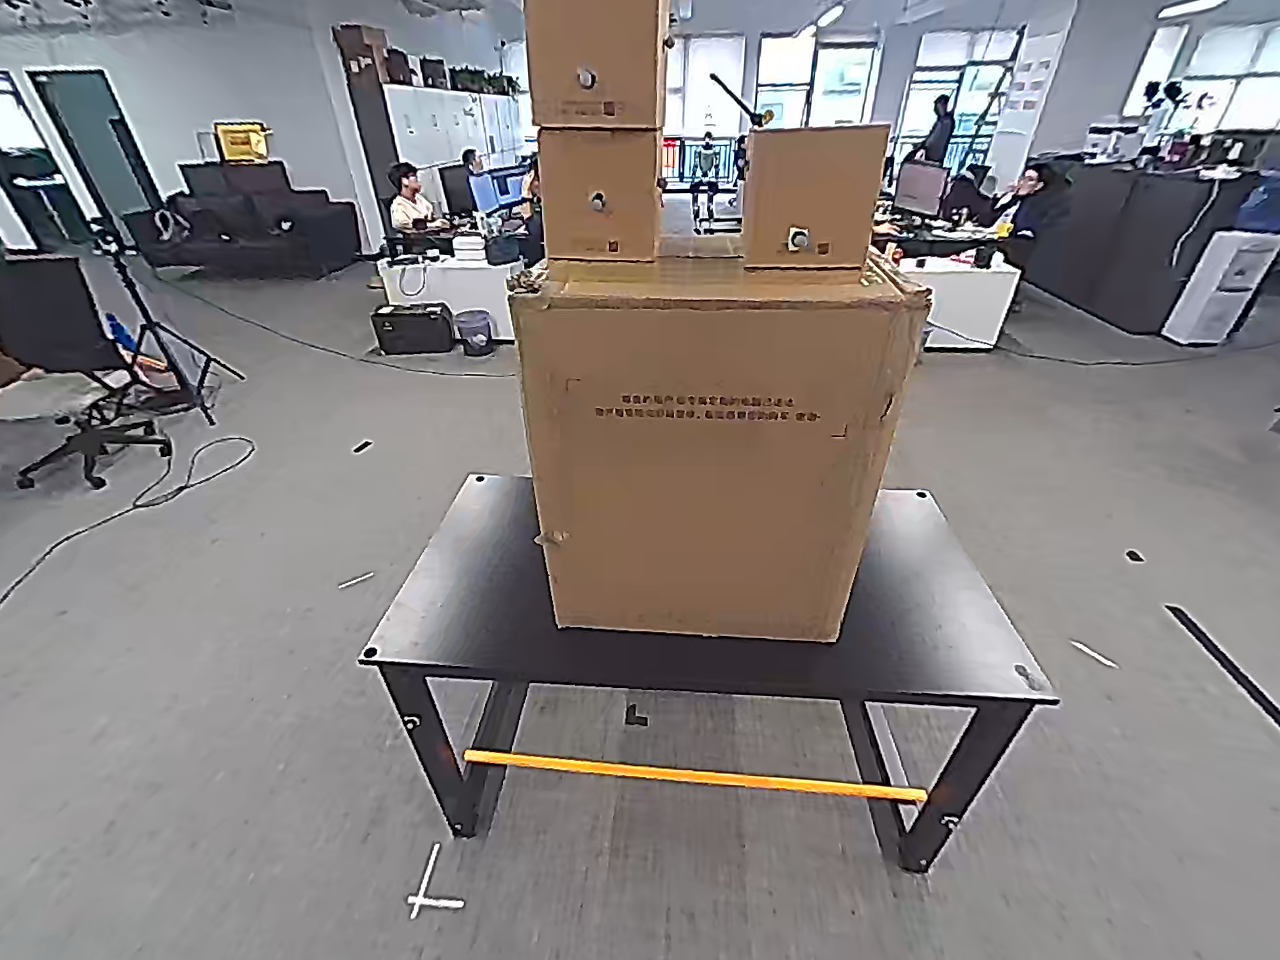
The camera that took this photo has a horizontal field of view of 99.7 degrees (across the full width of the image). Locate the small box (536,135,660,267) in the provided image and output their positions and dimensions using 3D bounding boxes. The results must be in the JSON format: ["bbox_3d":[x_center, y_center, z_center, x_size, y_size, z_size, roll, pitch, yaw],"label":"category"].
[{"bbox_3d":[-0.055,-0.436,0.842,0.168,0.176,0.179,3,34,3],"label":"small box"}]

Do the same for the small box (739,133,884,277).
[{"bbox_3d":[0.234,-0.402,0.787,0.168,0.176,0.179,1,33,7],"label":"small box"}]

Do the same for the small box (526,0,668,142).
[{"bbox_3d":[-0.052,-0.565,0.737,0.168,0.176,0.179,3,34,4],"label":"small box"}]
